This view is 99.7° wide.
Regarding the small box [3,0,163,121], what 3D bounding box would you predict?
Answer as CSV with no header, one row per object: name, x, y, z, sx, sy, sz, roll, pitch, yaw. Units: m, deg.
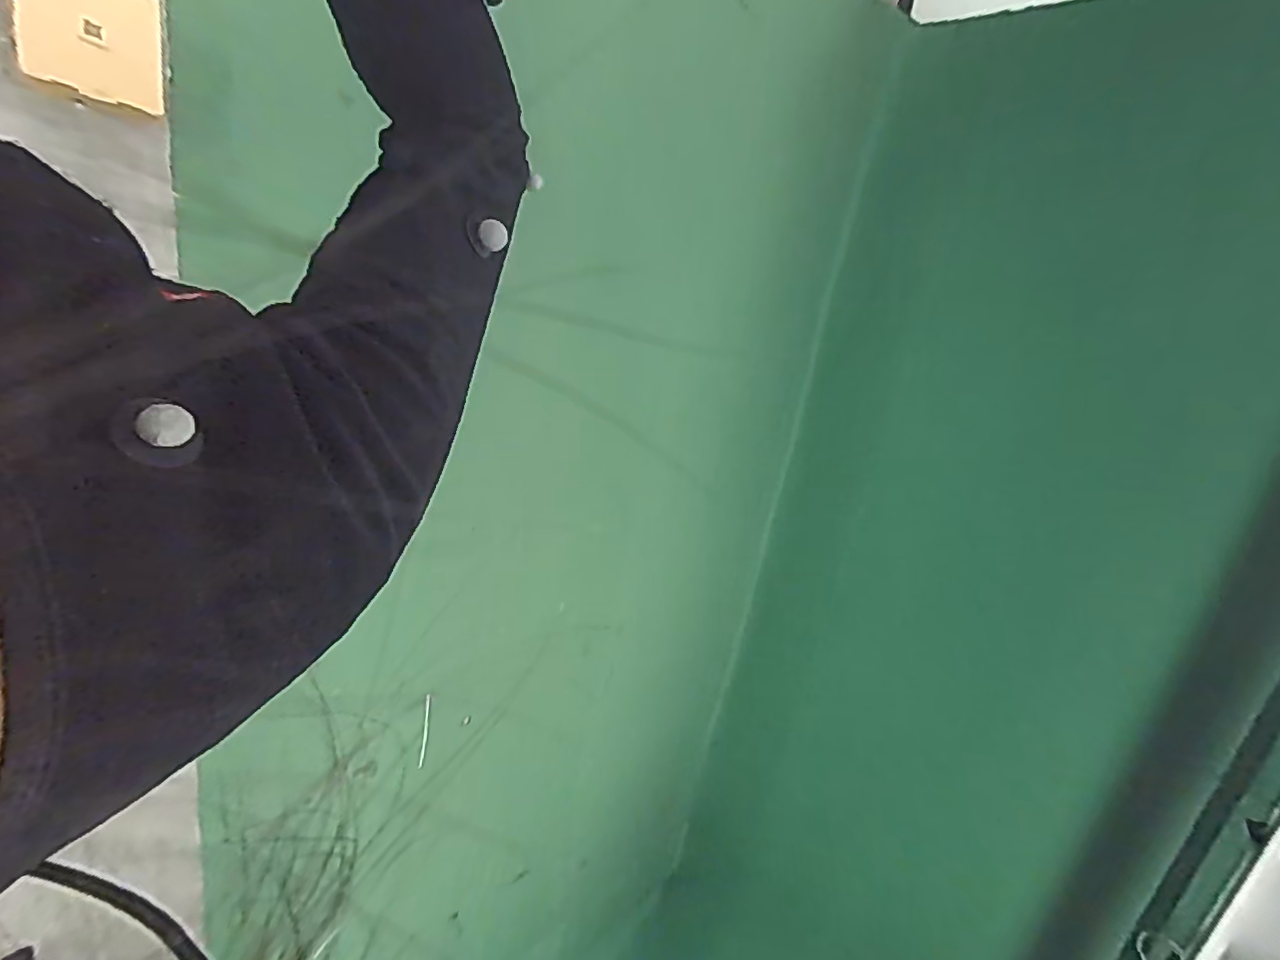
small box,-0.907,-0.719,0.882,0.168,0.176,0.179,-8,114,-49
